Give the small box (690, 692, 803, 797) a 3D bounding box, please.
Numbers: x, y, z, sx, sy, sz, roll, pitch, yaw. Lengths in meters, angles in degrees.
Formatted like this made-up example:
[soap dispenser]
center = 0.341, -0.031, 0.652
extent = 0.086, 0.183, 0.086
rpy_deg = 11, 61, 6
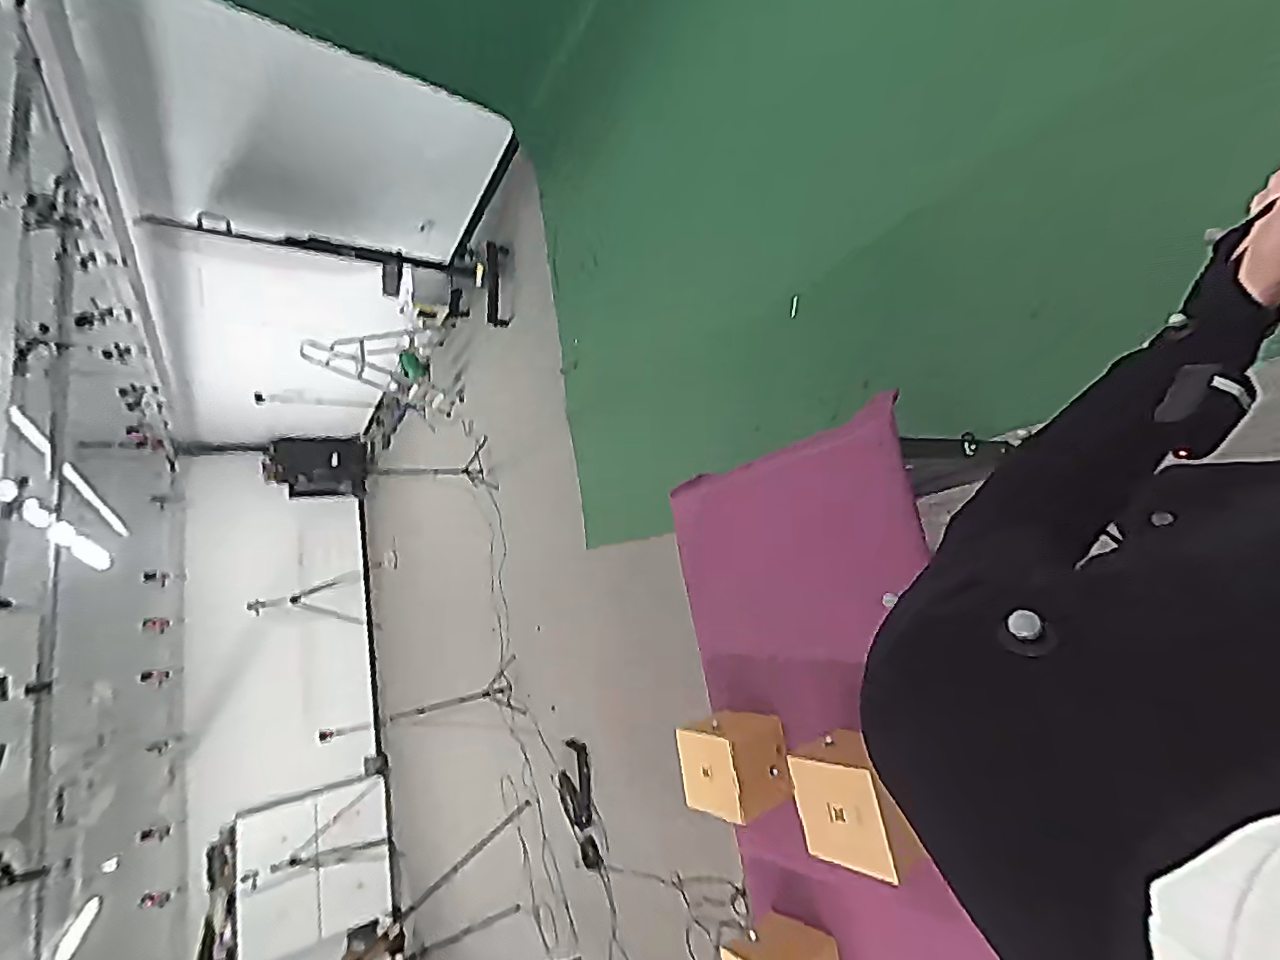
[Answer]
[small box]
center = 0.244, 0.597, 1.247
extent = 0.179, 0.176, 0.168
rpy_deg = -21, 74, 51
